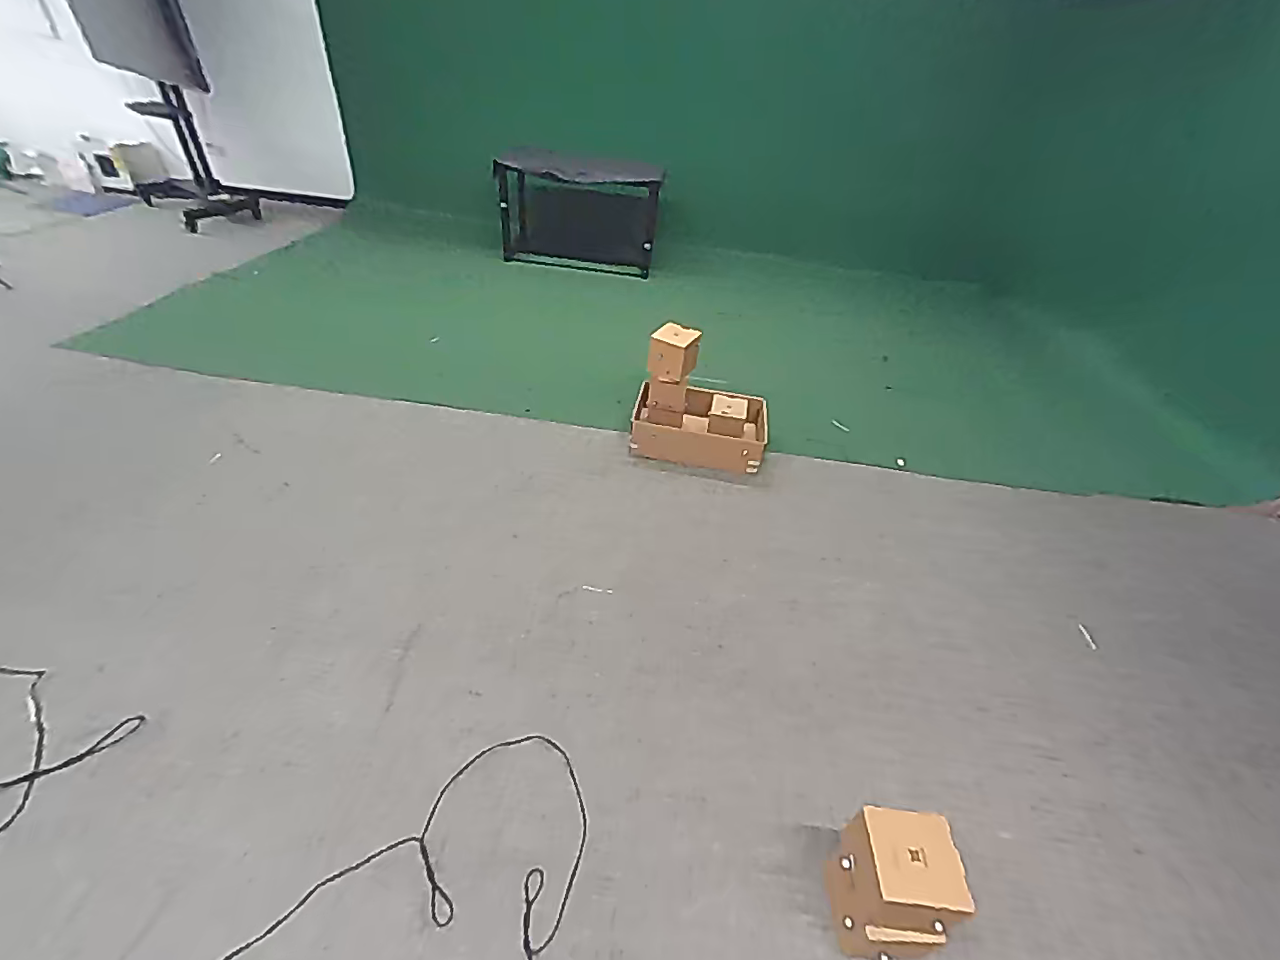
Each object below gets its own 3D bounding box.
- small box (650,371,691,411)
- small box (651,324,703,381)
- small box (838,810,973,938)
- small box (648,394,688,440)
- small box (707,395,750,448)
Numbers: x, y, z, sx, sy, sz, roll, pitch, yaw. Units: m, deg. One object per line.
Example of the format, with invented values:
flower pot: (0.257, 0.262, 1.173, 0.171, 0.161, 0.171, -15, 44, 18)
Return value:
small box: (0.140, -0.435, 2.471, 0.168, 0.176, 0.179, 10, 39, 2)
small box: (0.158, -0.555, 2.362, 0.168, 0.176, 0.179, 24, 42, 19)
small box: (0.530, 0.809, 1.107, 0.179, 0.176, 0.168, 7, 38, 1)
small box: (0.131, -0.316, 2.584, 0.168, 0.176, 0.179, 8, 40, 1)
small box: (0.421, -0.279, 2.587, 0.168, 0.176, 0.179, 12, 40, 6)
